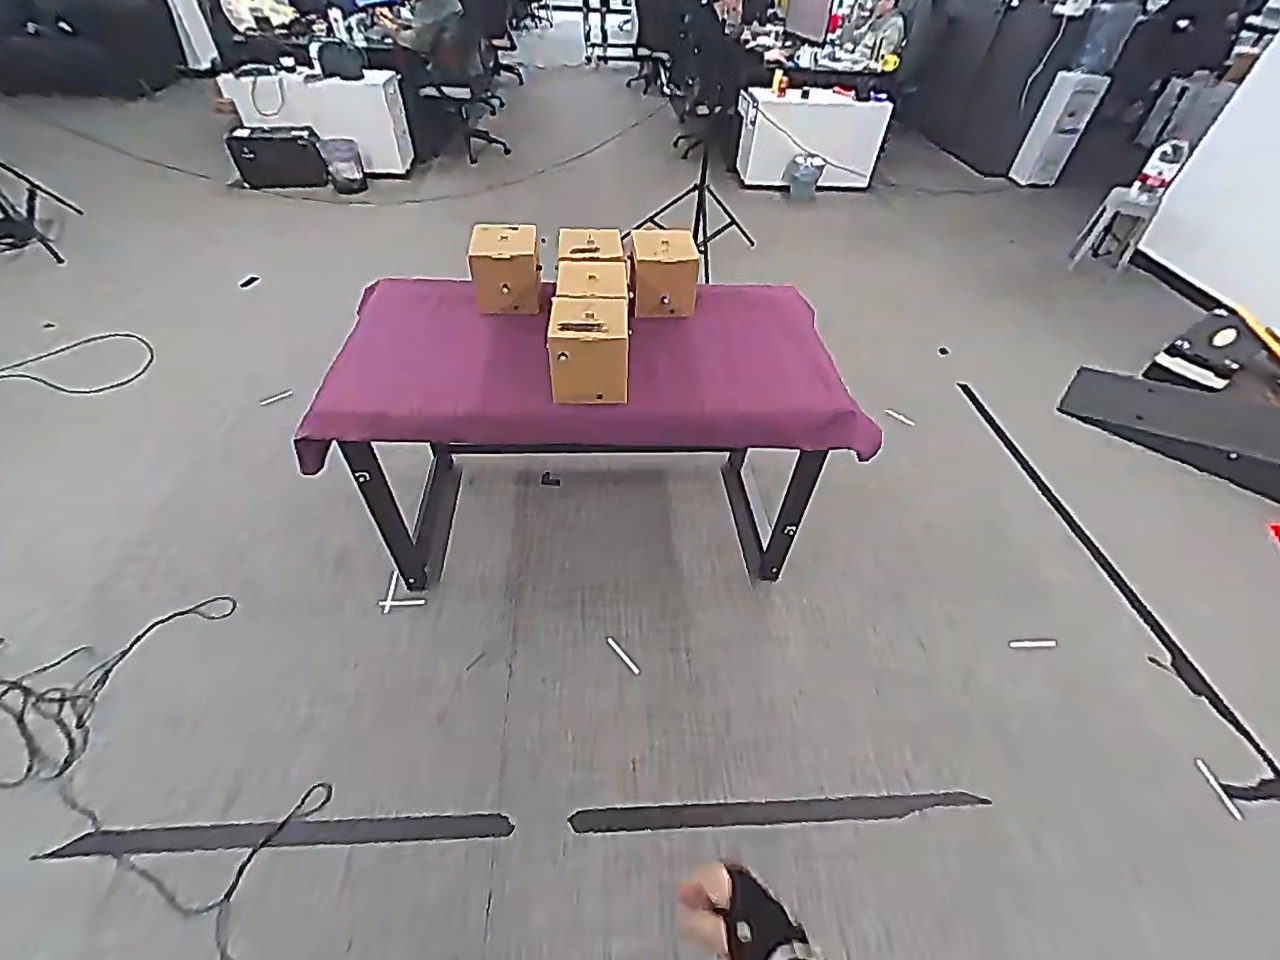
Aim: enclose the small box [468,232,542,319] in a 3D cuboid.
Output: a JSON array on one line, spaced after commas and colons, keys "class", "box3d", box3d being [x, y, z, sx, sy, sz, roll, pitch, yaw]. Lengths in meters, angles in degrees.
[{"class": "small box", "box3d": [-0.357, -0.551, 1.464, 0.168, 0.176, 0.179, -2, 49, -5]}]
